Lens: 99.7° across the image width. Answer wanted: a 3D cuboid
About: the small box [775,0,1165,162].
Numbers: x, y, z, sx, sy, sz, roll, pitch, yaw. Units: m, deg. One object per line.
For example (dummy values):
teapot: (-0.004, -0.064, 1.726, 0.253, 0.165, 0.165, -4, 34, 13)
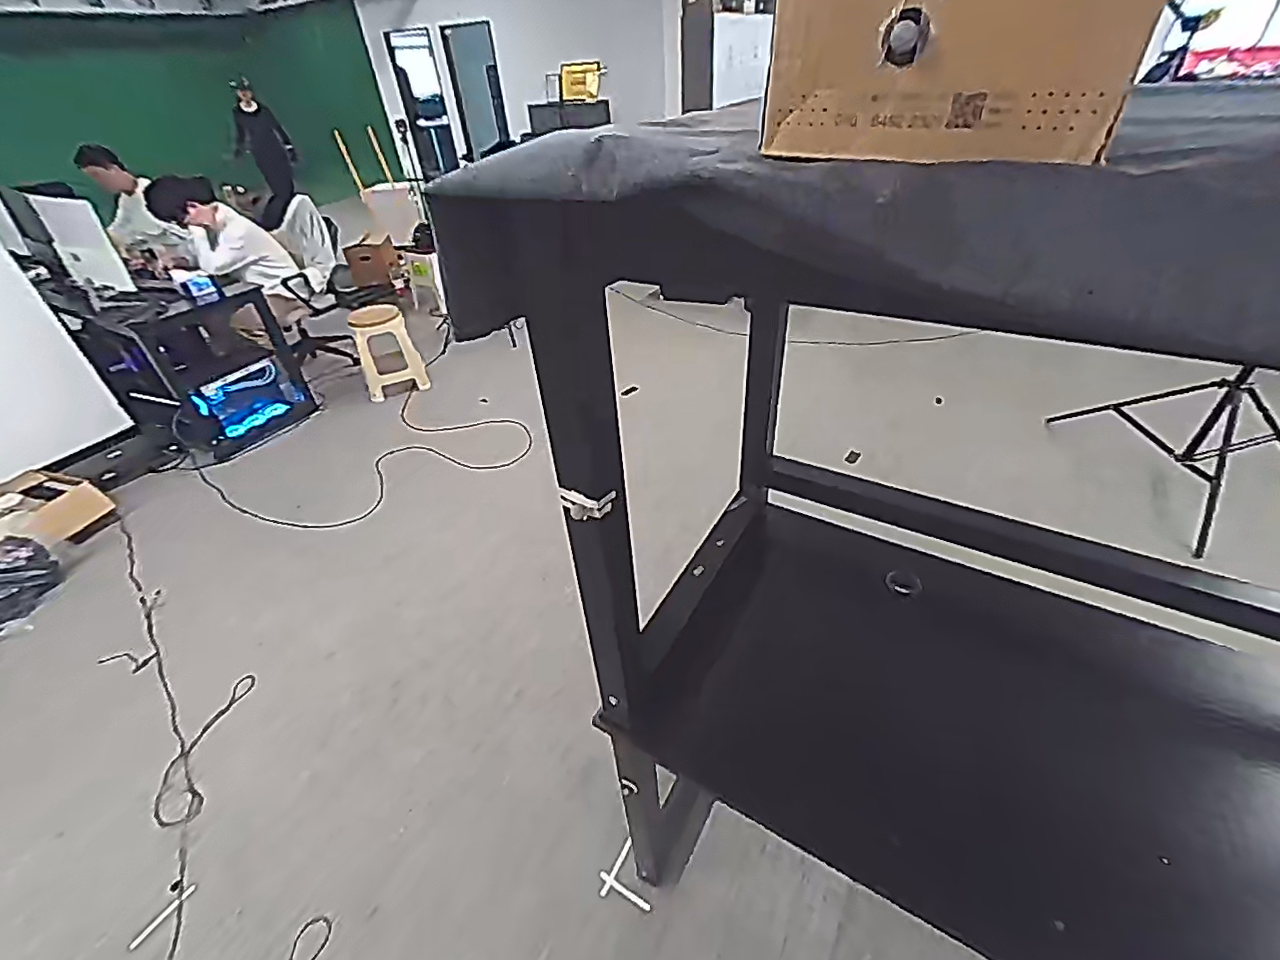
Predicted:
small box: (0.183, -0.282, 0.289, 0.168, 0.176, 0.179, 19, 42, 25)
